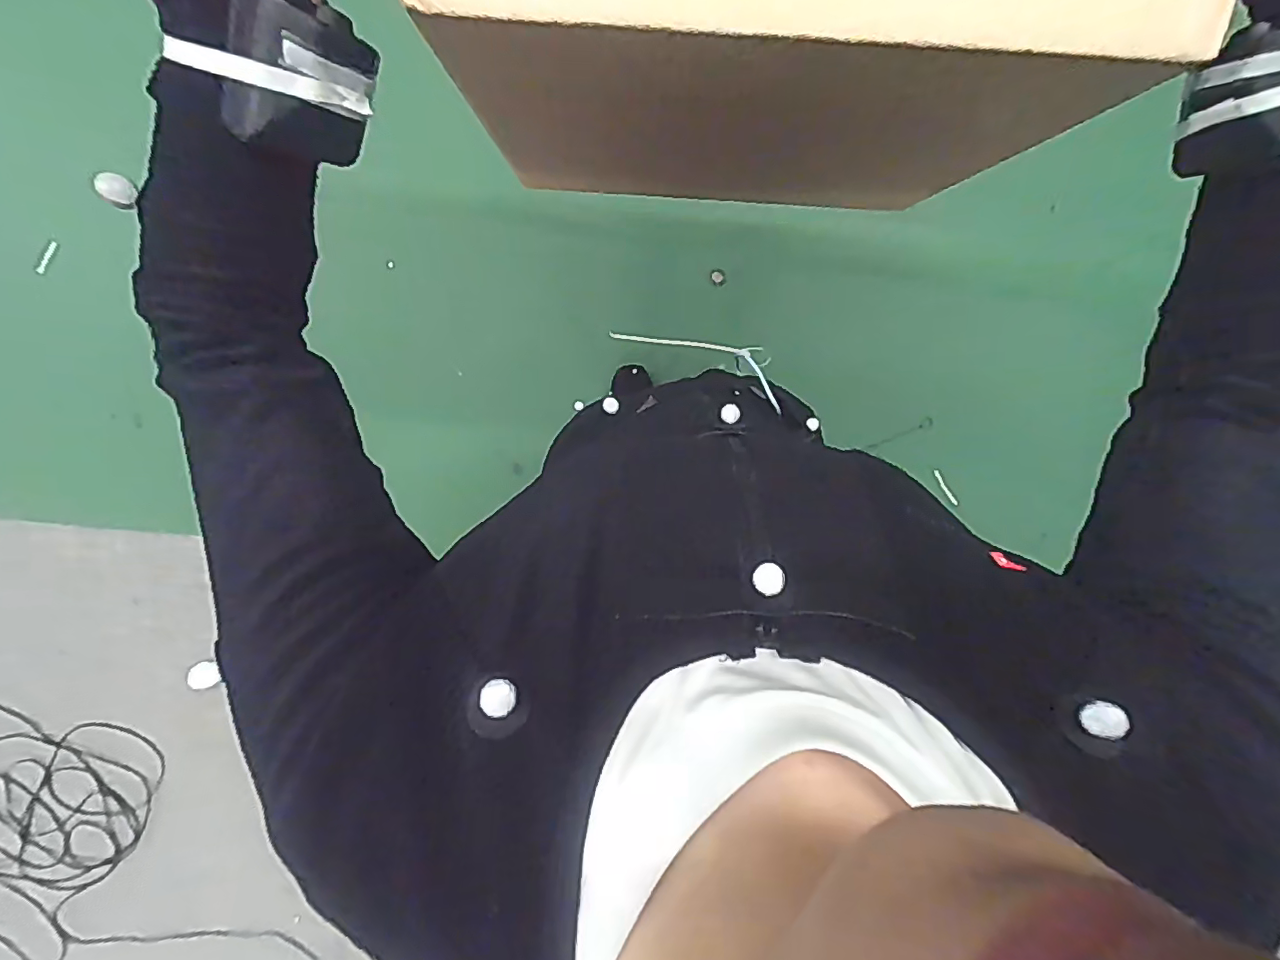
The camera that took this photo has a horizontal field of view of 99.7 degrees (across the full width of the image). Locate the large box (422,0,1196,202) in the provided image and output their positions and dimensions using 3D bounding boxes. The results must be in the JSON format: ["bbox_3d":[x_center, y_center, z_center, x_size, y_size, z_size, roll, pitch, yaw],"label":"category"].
[{"bbox_3d":[0.086,-0.410,0.387,0.408,0.320,0.320,2,104,-1],"label":"large box"}]
